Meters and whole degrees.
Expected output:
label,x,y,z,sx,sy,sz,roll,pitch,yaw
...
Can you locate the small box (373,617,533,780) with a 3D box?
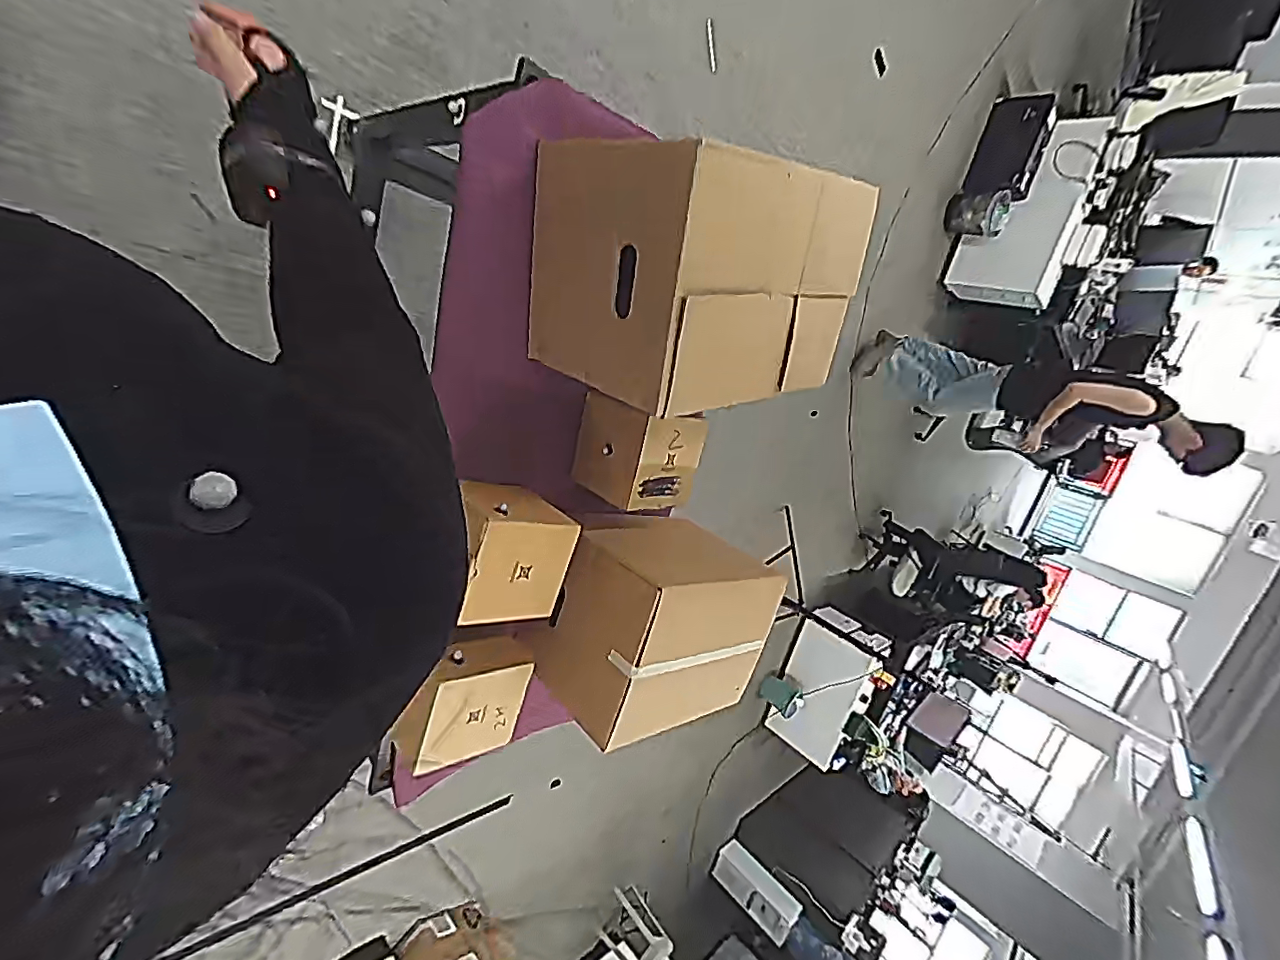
label,x,y,z,sx,sy,sz,roll,pitch,yaw
small box,-0.314,0.347,0.898,0.179,0.176,0.168,7,107,-50
